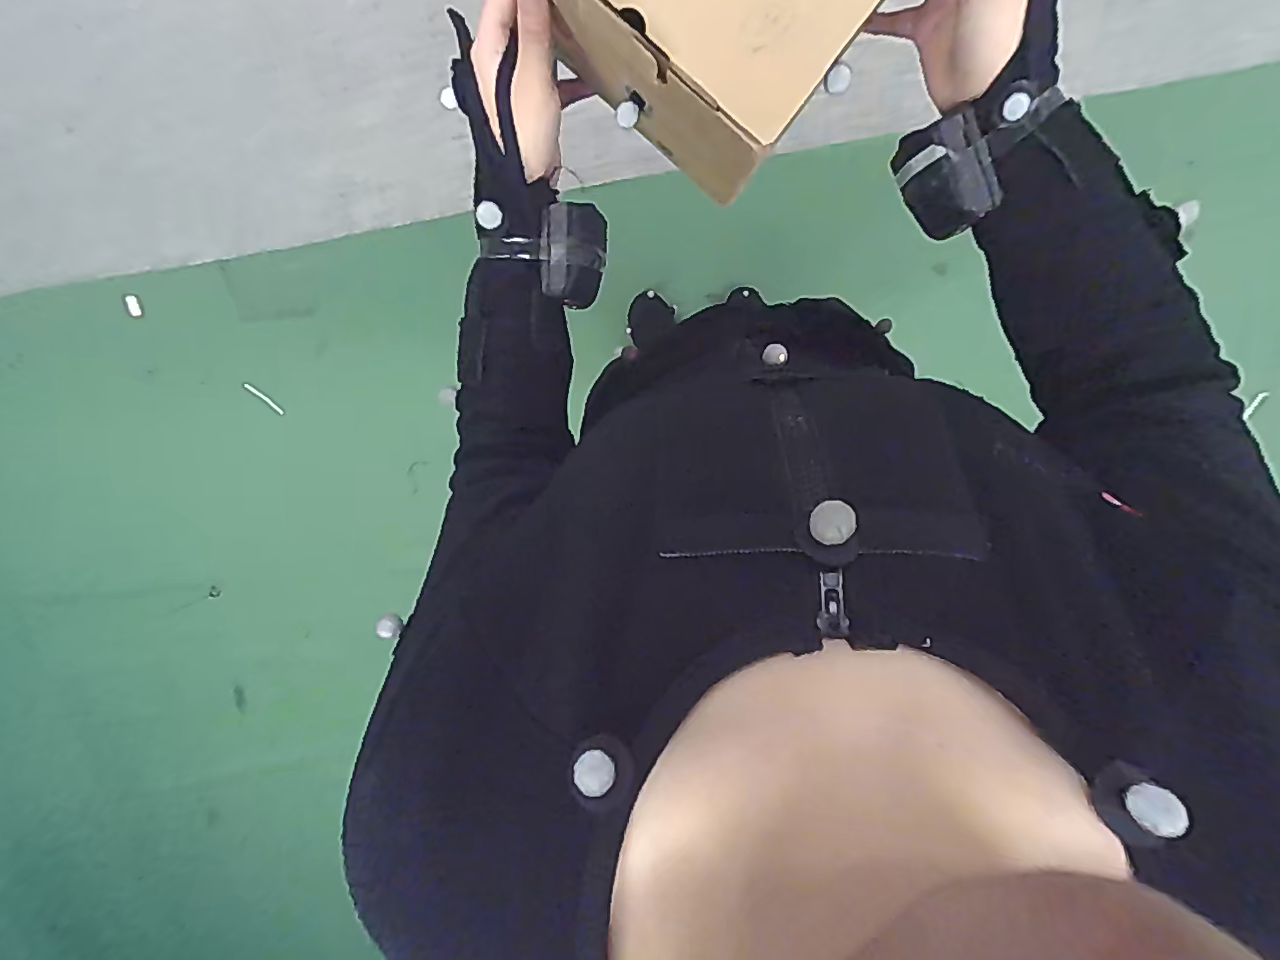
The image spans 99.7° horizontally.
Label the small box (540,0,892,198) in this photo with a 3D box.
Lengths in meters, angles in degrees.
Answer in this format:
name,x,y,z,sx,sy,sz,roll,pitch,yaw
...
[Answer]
name,x,y,z,sx,sy,sz,roll,pitch,yaw
small box,0.053,-0.295,0.307,0.168,0.176,0.179,37,107,-9
